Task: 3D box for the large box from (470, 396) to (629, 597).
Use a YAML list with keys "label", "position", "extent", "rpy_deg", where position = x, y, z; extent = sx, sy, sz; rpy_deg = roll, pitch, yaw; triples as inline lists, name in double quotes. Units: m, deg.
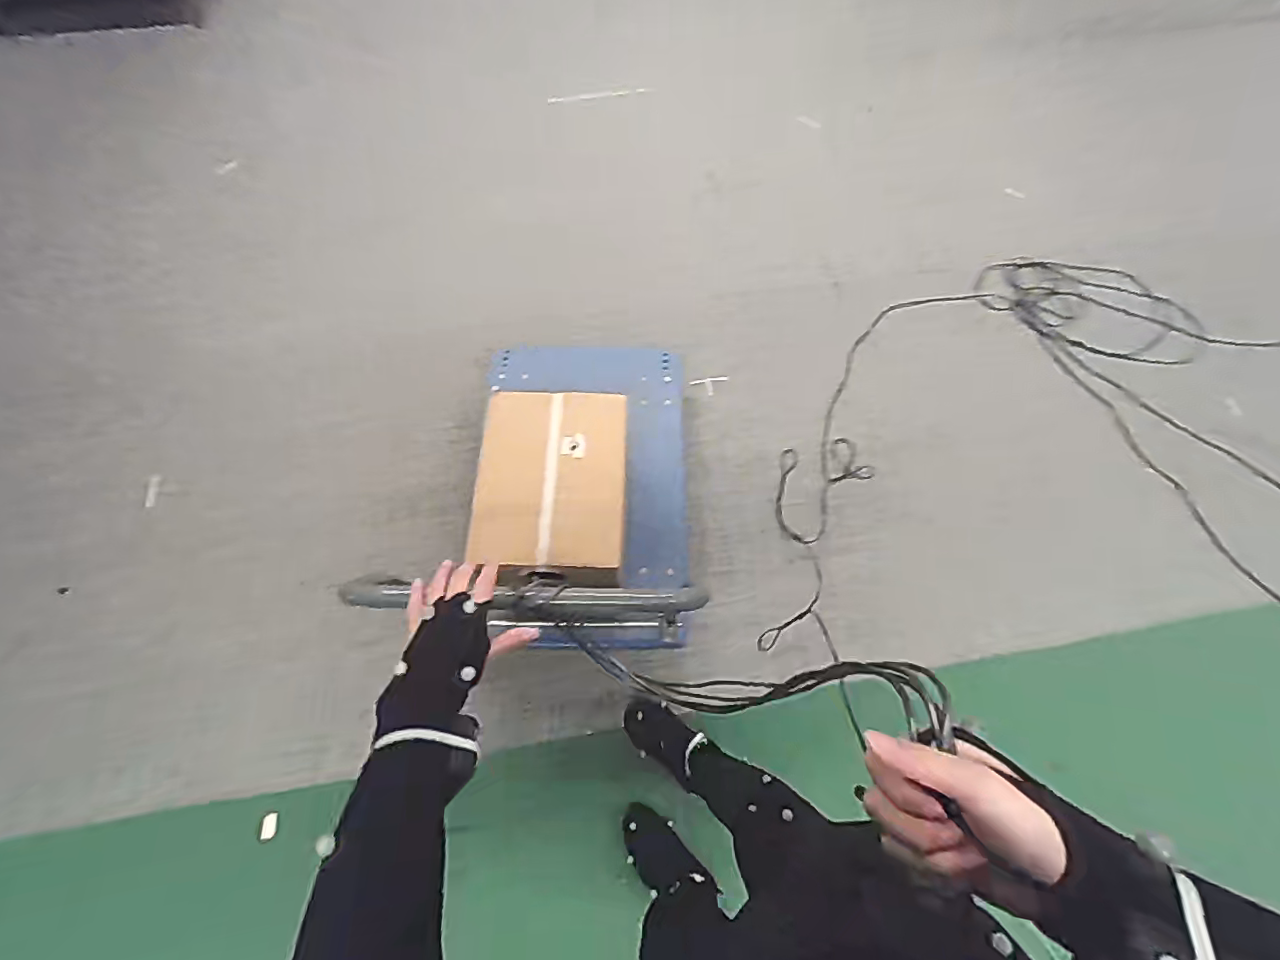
- label: "large box"
  position: [-0.186, 0.053, 1.293]
  extent: [0.320, 0.320, 0.408]
  rpy_deg: [2, 66, 0]
